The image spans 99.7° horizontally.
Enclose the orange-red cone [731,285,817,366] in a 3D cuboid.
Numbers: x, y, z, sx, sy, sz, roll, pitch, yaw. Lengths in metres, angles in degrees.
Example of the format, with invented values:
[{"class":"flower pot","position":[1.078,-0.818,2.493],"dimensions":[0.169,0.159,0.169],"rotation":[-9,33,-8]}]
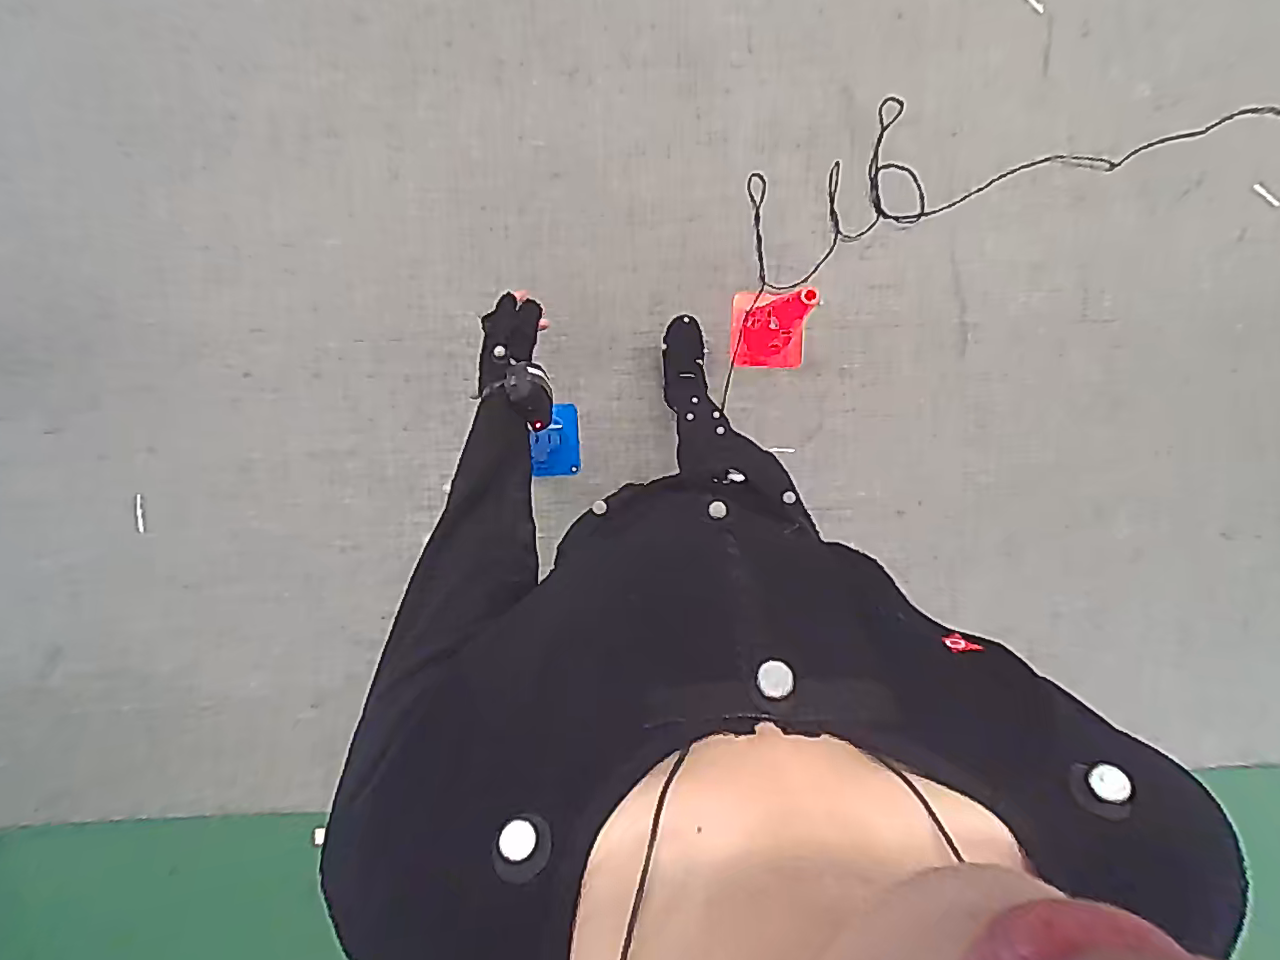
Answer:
[{"class":"orange-red cone","position":[0.354,-0.402,1.308],"dimensions":[0.198,0.360,0.199],"rotation":[3,95,-1]}]
